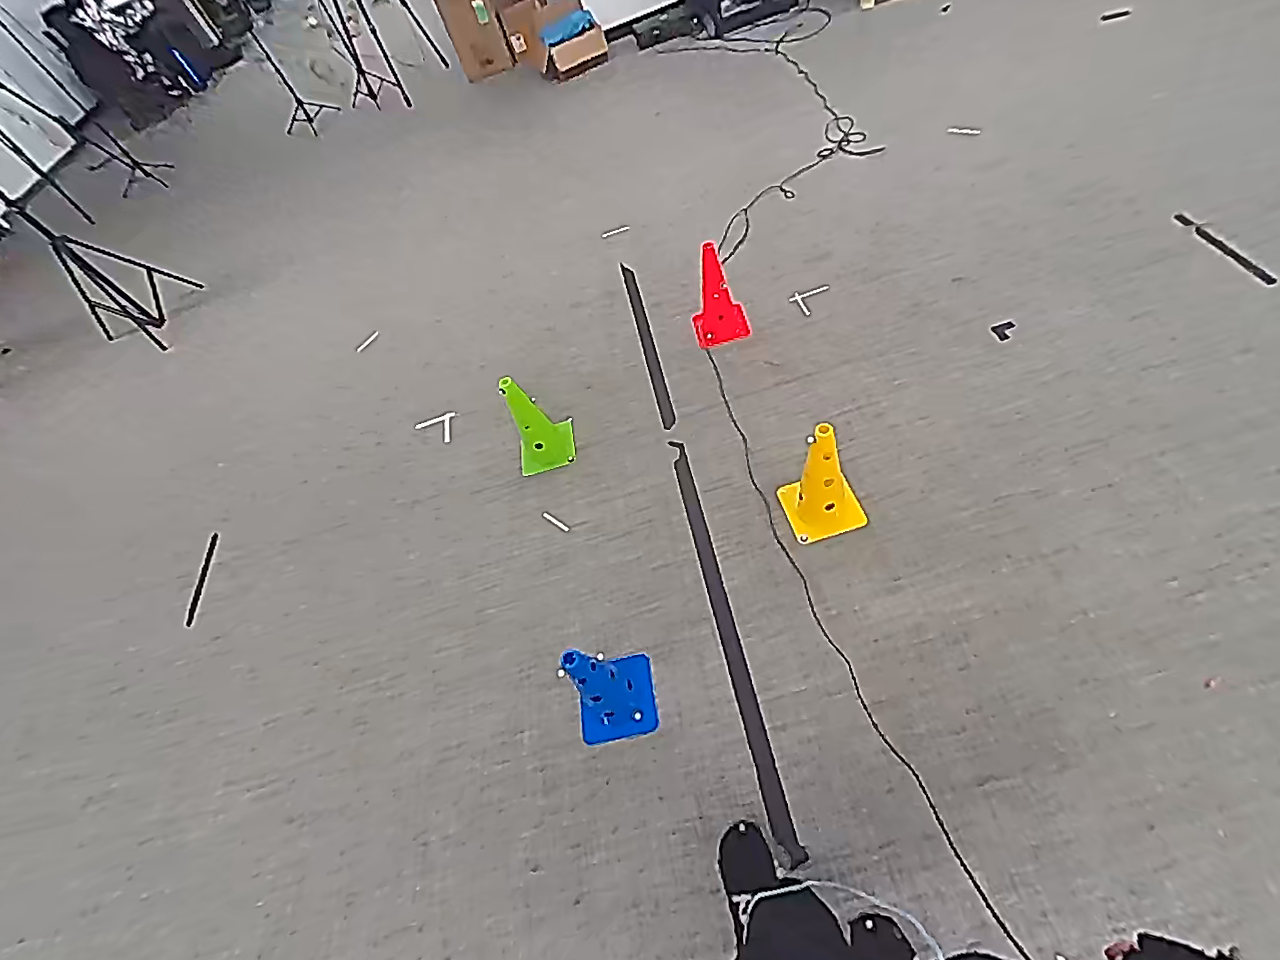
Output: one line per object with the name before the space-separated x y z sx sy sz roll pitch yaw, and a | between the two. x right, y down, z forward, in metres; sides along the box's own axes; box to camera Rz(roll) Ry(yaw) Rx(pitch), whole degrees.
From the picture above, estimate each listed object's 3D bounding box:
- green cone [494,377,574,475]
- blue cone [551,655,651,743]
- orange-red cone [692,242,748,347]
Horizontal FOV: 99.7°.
green cone | -0.382 -0.213 1.816 0.202 0.368 0.200 -17 53 7
blue cone | -0.112 0.481 1.277 0.192 0.380 0.193 -14 54 9
orange-red cone | 0.265 -0.689 1.946 0.199 0.360 0.198 -12 56 7
